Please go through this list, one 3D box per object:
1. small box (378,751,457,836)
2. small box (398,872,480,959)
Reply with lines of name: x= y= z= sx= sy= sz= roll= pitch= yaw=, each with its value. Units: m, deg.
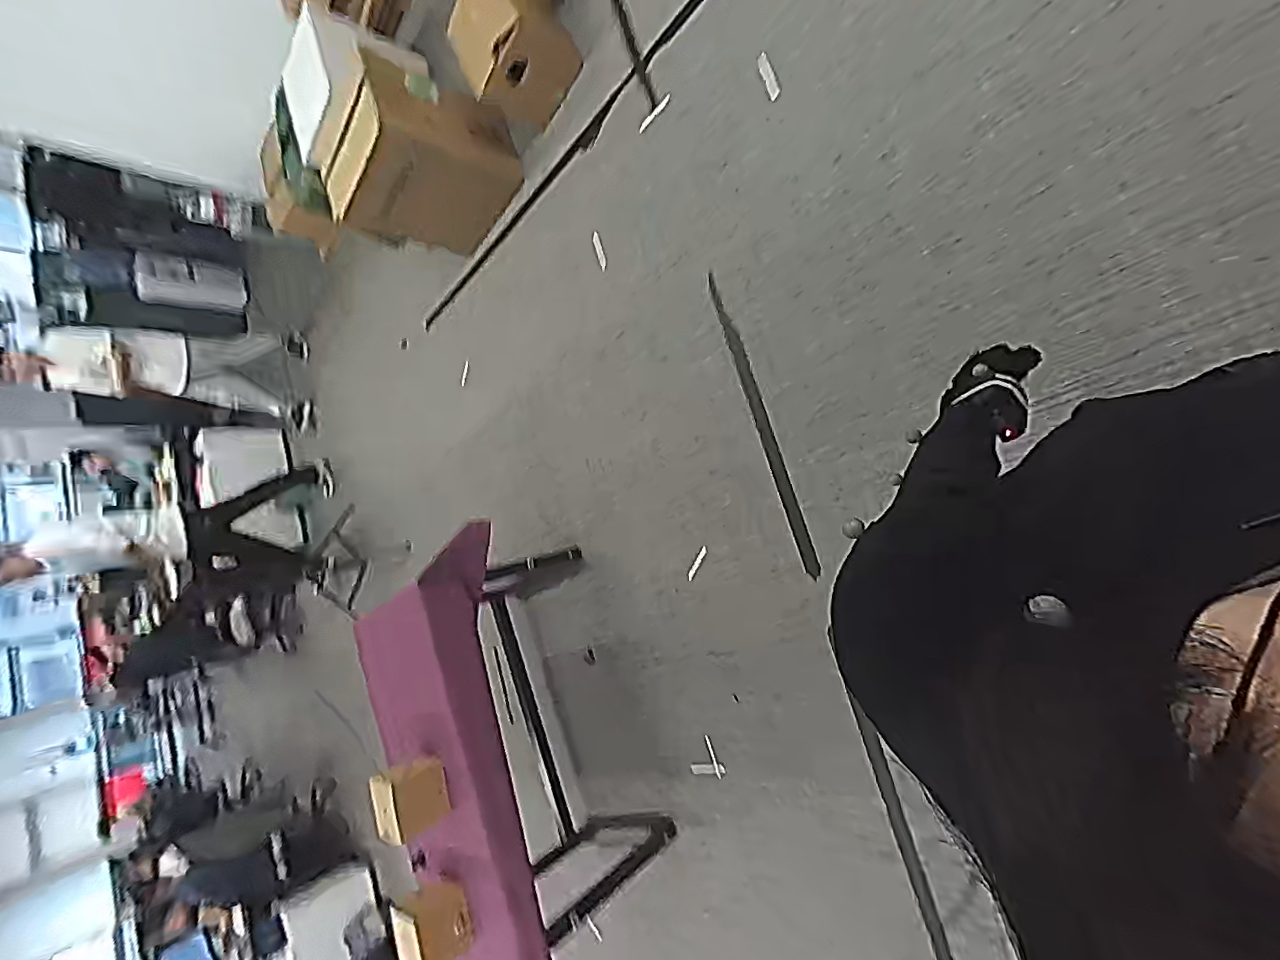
small box: x=-0.715 y=0.998 z=1.739 sx=0.168 sy=0.176 sz=0.179 roll=-19 pitch=81 yaw=42
small box: x=-0.634 y=1.380 z=1.706 sx=0.179 sy=0.176 sz=0.168 roll=-24 pitch=80 yaw=40
